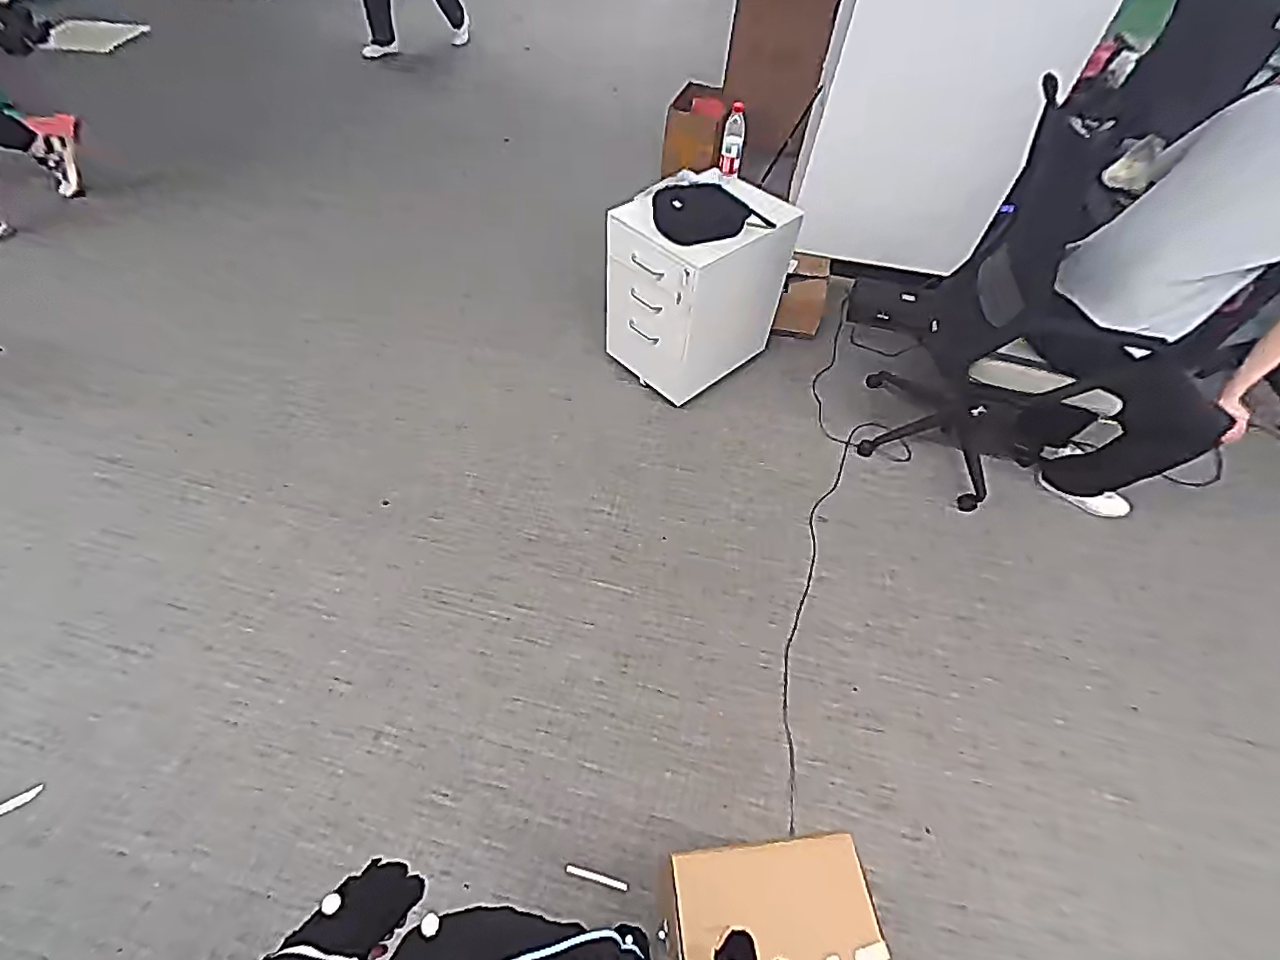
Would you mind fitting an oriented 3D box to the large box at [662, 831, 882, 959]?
[{"bbox_3d":[0.219,0.854,0.971,0.320,0.408,0.320,-5,52,-4],"label":"large box"}]
